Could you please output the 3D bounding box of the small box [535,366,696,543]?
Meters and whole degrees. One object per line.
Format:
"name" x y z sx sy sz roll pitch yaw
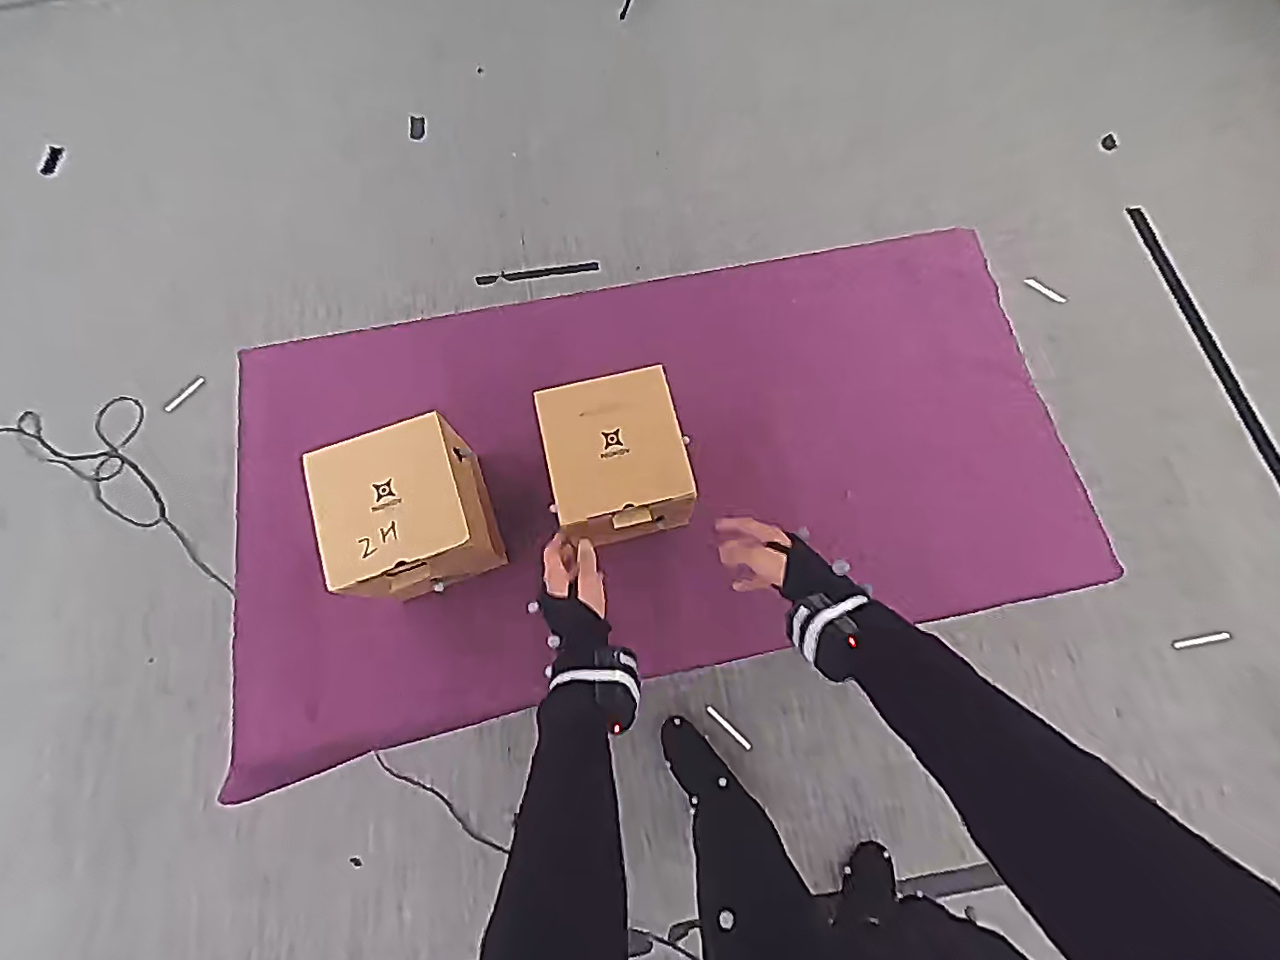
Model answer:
"small box" -0.030 -0.022 0.715 0.168 0.176 0.179 -13 73 -4

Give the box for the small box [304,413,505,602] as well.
"small box" -0.292 0.044 0.697 0.168 0.176 0.179 -20 74 -5
